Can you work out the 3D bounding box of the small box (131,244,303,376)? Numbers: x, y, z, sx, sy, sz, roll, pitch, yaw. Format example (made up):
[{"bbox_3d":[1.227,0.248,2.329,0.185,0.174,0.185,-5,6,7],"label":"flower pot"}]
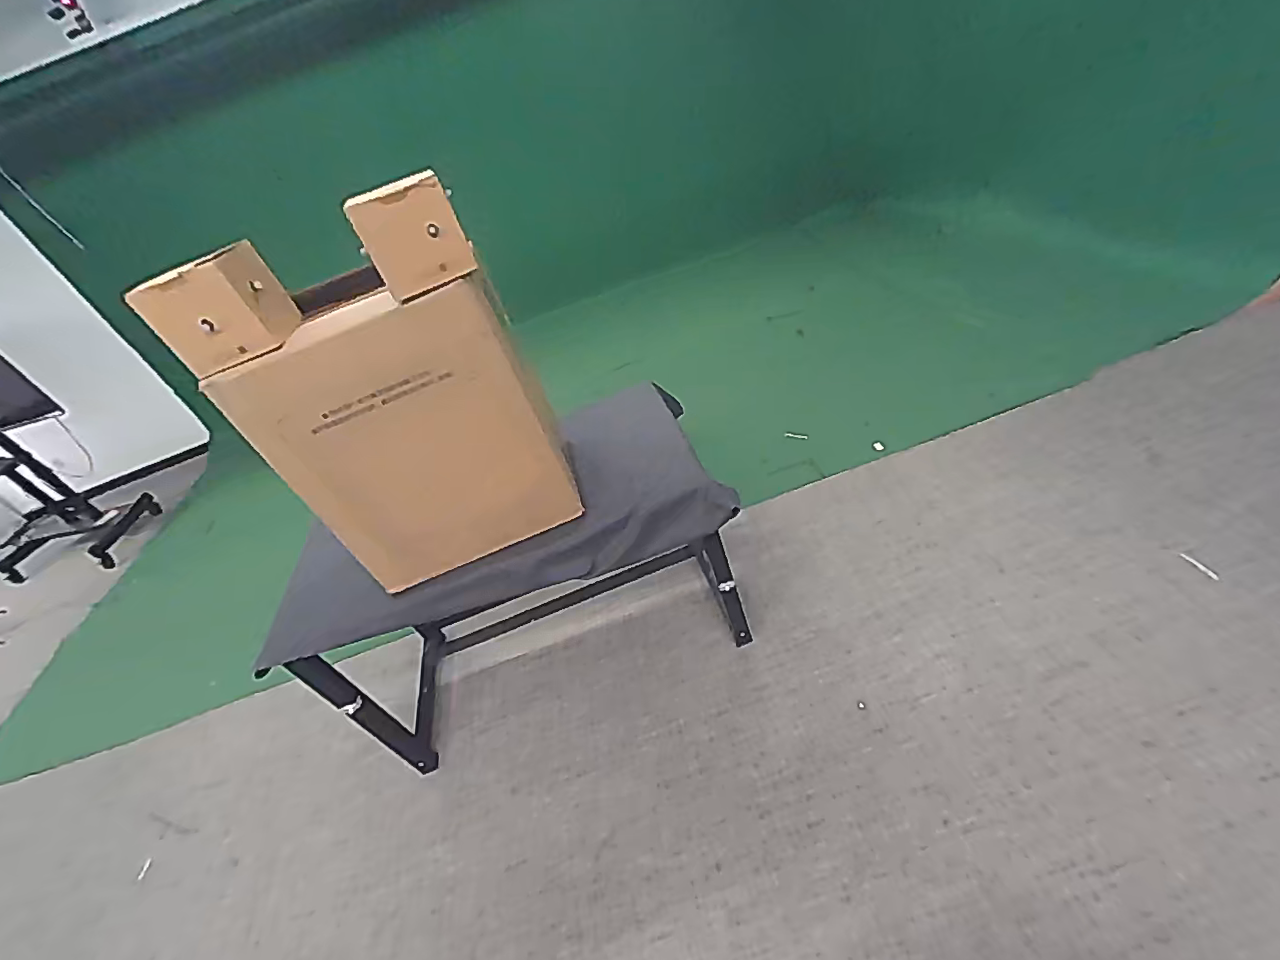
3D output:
[{"bbox_3d":[-0.783,-0.319,1.029,0.168,0.176,0.179,-22,37,0],"label":"small box"}]

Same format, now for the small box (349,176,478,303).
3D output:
[{"bbox_3d":[-0.423,-0.455,1.027,0.168,0.176,0.179,-25,36,-9],"label":"small box"}]
